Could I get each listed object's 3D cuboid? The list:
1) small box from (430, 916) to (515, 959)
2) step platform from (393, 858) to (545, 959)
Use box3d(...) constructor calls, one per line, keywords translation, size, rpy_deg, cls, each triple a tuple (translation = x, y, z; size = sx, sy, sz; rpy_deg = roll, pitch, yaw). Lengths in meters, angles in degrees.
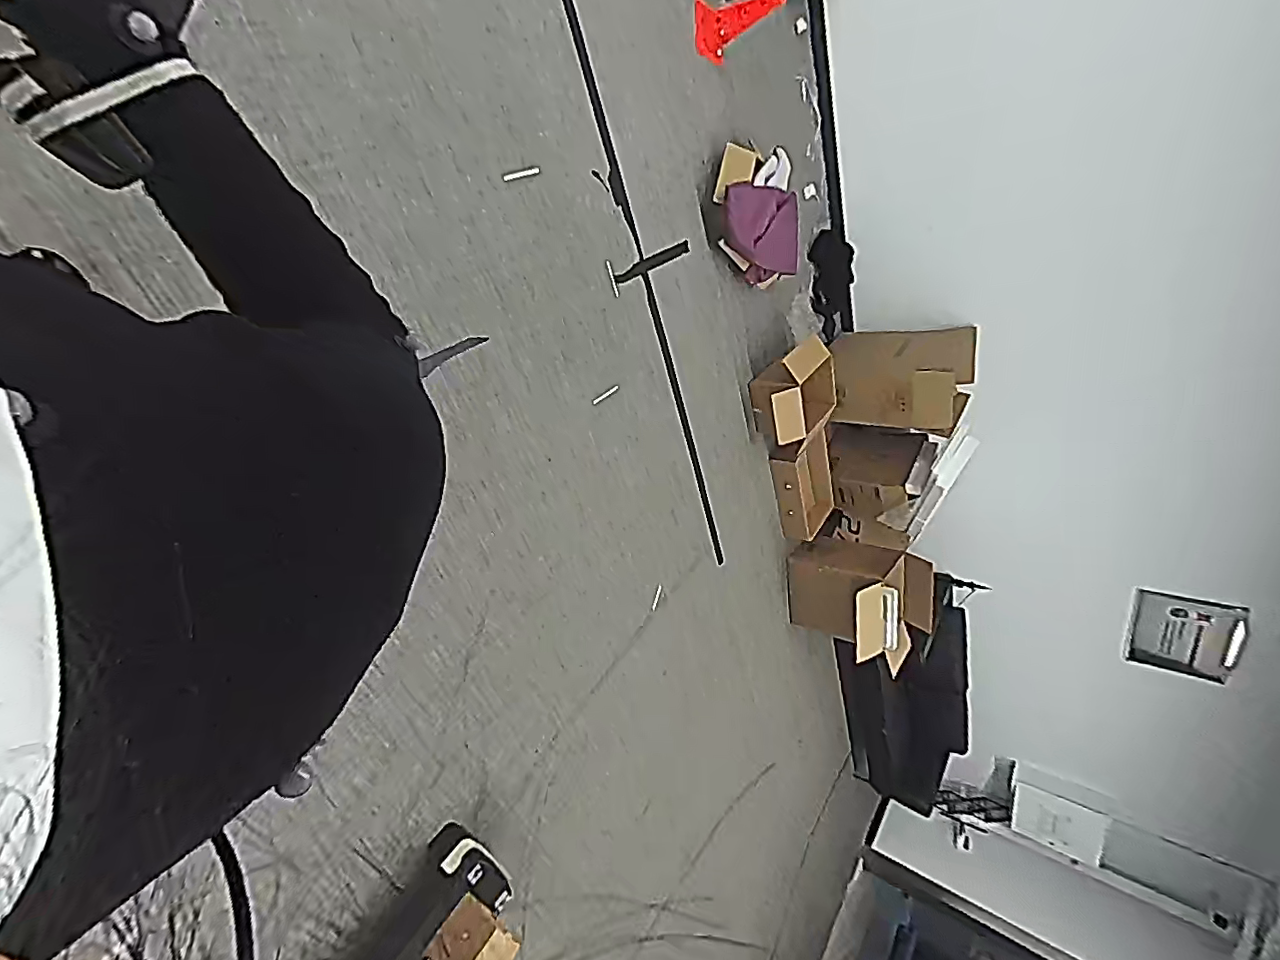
box3d(translation=(-0.512, 1.390, 1.629), size=(0.179, 0.176, 0.168), rpy_deg=(-46, 129, -34), cls="small box")
box3d(translation=(-0.589, 1.455, 1.496), size=(0.684, 0.204, 0.286), rpy_deg=(-43, 128, -35), cls="step platform")
